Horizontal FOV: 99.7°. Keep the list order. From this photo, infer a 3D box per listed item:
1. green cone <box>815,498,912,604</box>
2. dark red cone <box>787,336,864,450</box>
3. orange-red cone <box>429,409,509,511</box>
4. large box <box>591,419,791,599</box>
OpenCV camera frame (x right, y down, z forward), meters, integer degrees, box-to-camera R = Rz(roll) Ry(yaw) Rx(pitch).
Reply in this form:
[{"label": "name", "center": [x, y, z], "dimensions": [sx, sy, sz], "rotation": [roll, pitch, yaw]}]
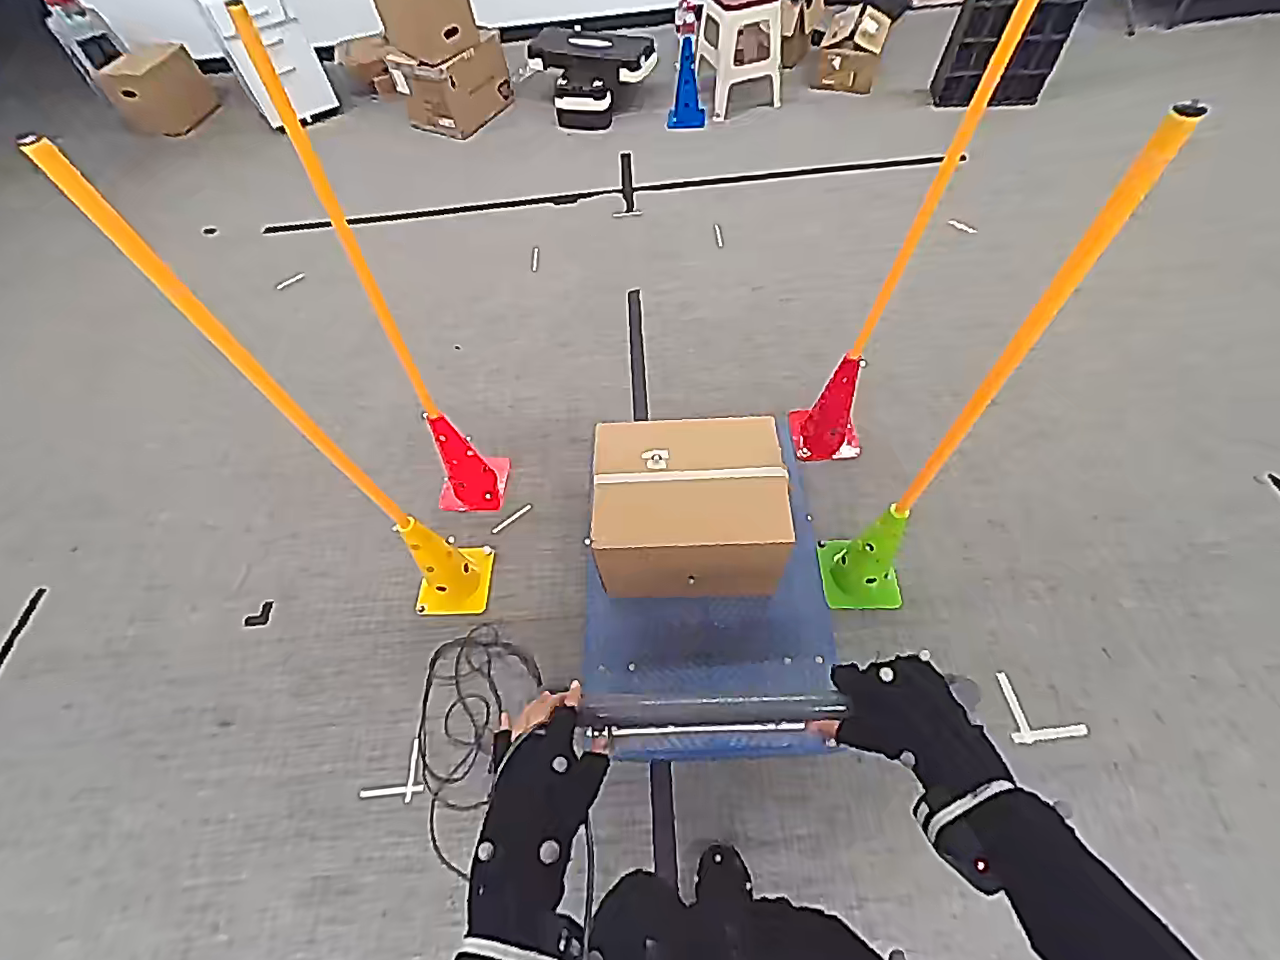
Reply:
[{"label": "green cone", "center": [0.589, 0.156, 1.354], "dimensions": [0.202, 0.368, 0.200], "rotation": [-1, 58, 2]}, {"label": "dark red cone", "center": [0.580, -0.264, 1.597], "dimensions": [0.201, 0.394, 0.202], "rotation": [-4, 58, 0]}, {"label": "orange-red cone", "center": [-0.540, -0.084, 1.595], "dimensions": [0.198, 0.360, 0.199], "rotation": [2, 57, 5]}, {"label": "large box", "center": [0.110, 0.080, 1.271], "dimensions": [0.408, 0.320, 0.320], "rotation": [-3, 58, 4]}]
